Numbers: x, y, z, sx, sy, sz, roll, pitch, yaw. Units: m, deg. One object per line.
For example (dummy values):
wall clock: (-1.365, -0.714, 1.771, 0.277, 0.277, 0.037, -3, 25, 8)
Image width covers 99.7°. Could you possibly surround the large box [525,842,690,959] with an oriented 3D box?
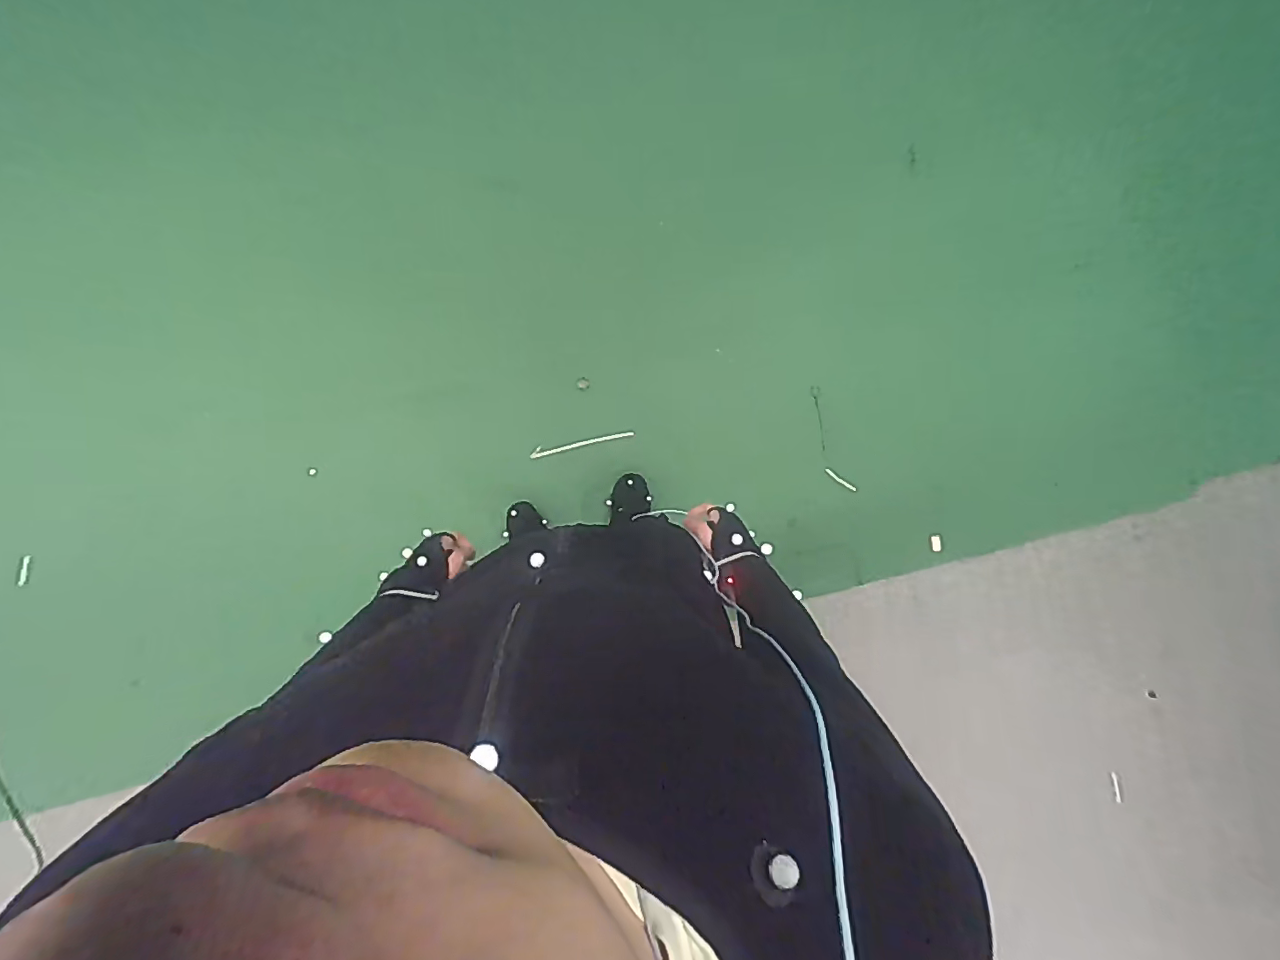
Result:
large box: (-0.080, 1.327, 1.538, 0.408, 0.320, 0.320, -15, 93, -4)
